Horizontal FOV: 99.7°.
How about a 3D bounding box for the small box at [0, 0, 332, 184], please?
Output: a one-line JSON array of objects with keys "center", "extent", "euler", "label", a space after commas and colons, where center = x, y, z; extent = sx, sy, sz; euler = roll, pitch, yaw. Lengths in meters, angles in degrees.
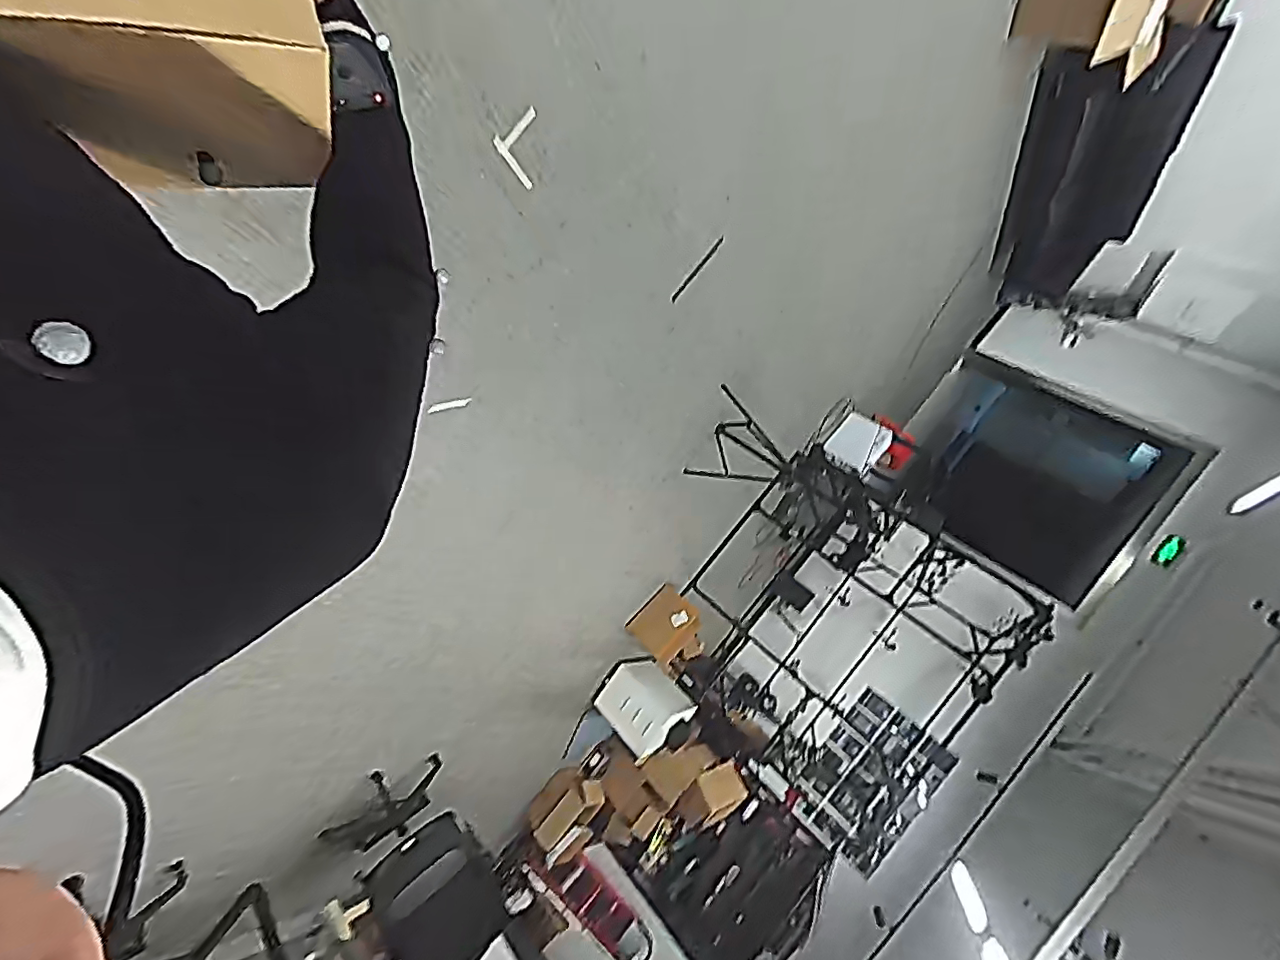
[{"center": [-0.332, -0.327, 0.371], "extent": [0.179, 0.176, 0.168], "euler": [-19, 96, -28], "label": "small box"}]
